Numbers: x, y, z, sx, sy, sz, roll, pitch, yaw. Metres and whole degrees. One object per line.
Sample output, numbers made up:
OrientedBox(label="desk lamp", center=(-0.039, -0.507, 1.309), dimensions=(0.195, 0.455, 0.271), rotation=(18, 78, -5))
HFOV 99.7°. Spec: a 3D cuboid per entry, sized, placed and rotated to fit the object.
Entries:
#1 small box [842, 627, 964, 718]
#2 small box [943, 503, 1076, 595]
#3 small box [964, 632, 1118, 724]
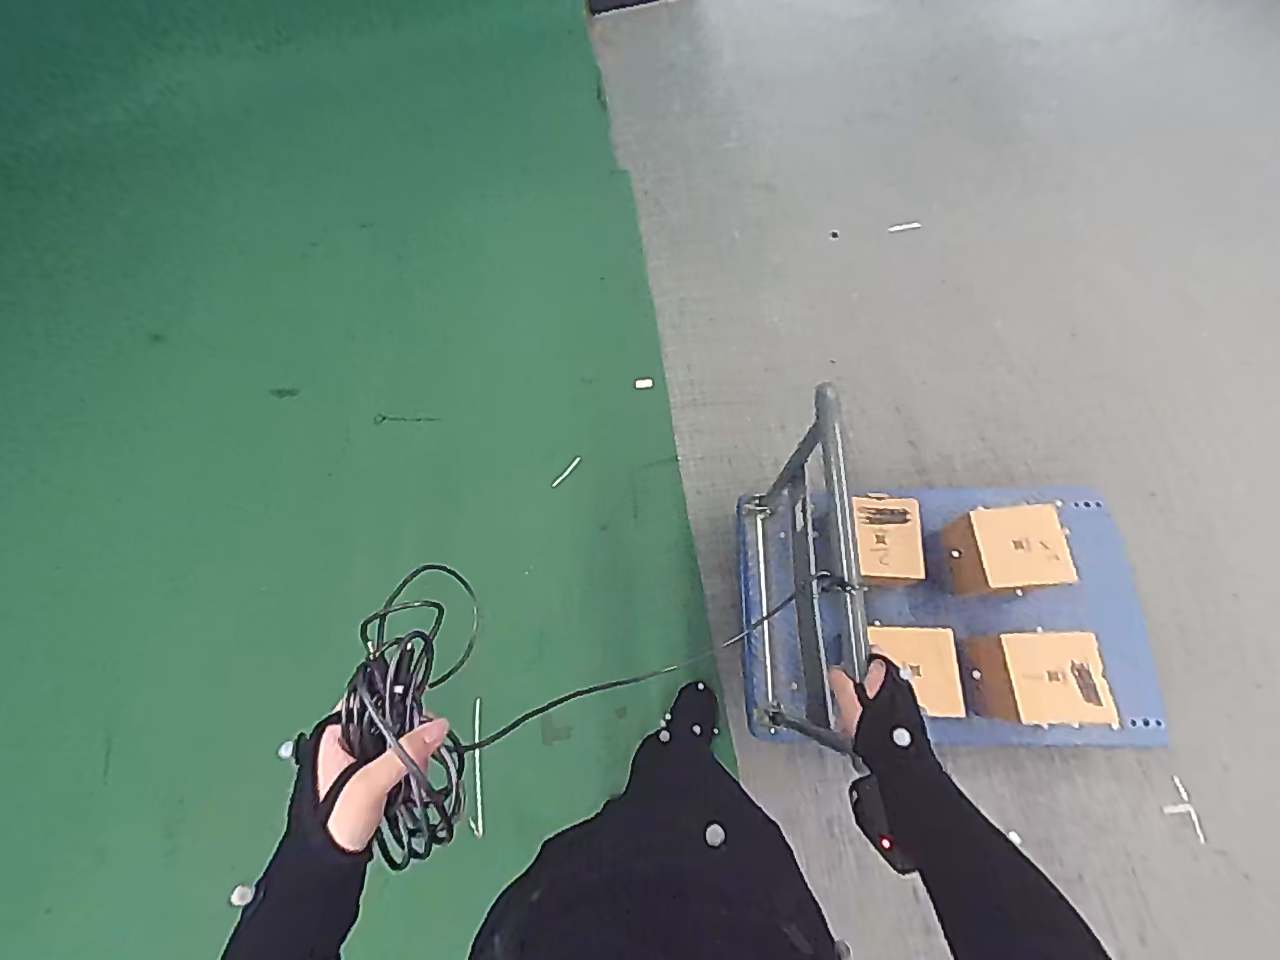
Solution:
OrientedBox(label="small box", center=(0.540, 0.400, 1.134), dimensions=(0.179, 0.176, 0.168), rotation=(-1, 70, 7))
OrientedBox(label="small box", center=(0.794, 0.159, 1.190), dimensions=(0.179, 0.176, 0.168), rotation=(-5, 71, 5))
OrientedBox(label="small box", center=(0.803, 0.401, 1.103), dimensions=(0.179, 0.176, 0.168), rotation=(-4, 69, 6))
